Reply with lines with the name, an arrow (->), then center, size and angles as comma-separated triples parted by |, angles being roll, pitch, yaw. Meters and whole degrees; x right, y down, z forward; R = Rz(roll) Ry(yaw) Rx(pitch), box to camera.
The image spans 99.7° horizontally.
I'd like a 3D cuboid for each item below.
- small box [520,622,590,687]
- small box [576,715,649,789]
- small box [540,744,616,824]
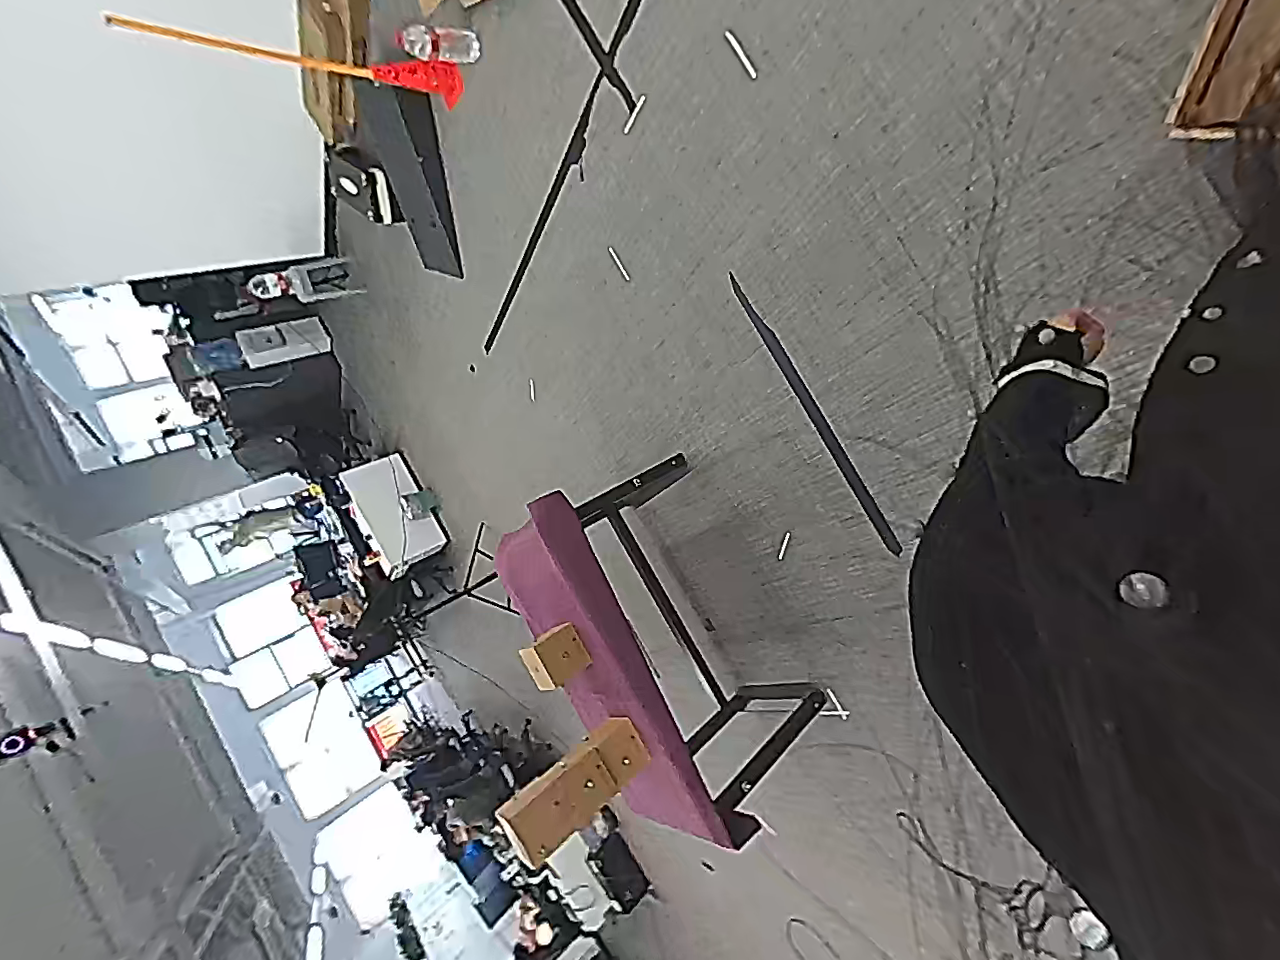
small box -> -0.305, 0.634, 1.974 | 0.168, 0.176, 0.179 | 60, 145, 4
small box -> -0.092, 0.957, 1.918 | 0.168, 0.176, 0.179 | 60, 145, 4
small box -> -0.203, 1.008, 1.808 | 0.168, 0.176, 0.179 | 57, 145, 8
